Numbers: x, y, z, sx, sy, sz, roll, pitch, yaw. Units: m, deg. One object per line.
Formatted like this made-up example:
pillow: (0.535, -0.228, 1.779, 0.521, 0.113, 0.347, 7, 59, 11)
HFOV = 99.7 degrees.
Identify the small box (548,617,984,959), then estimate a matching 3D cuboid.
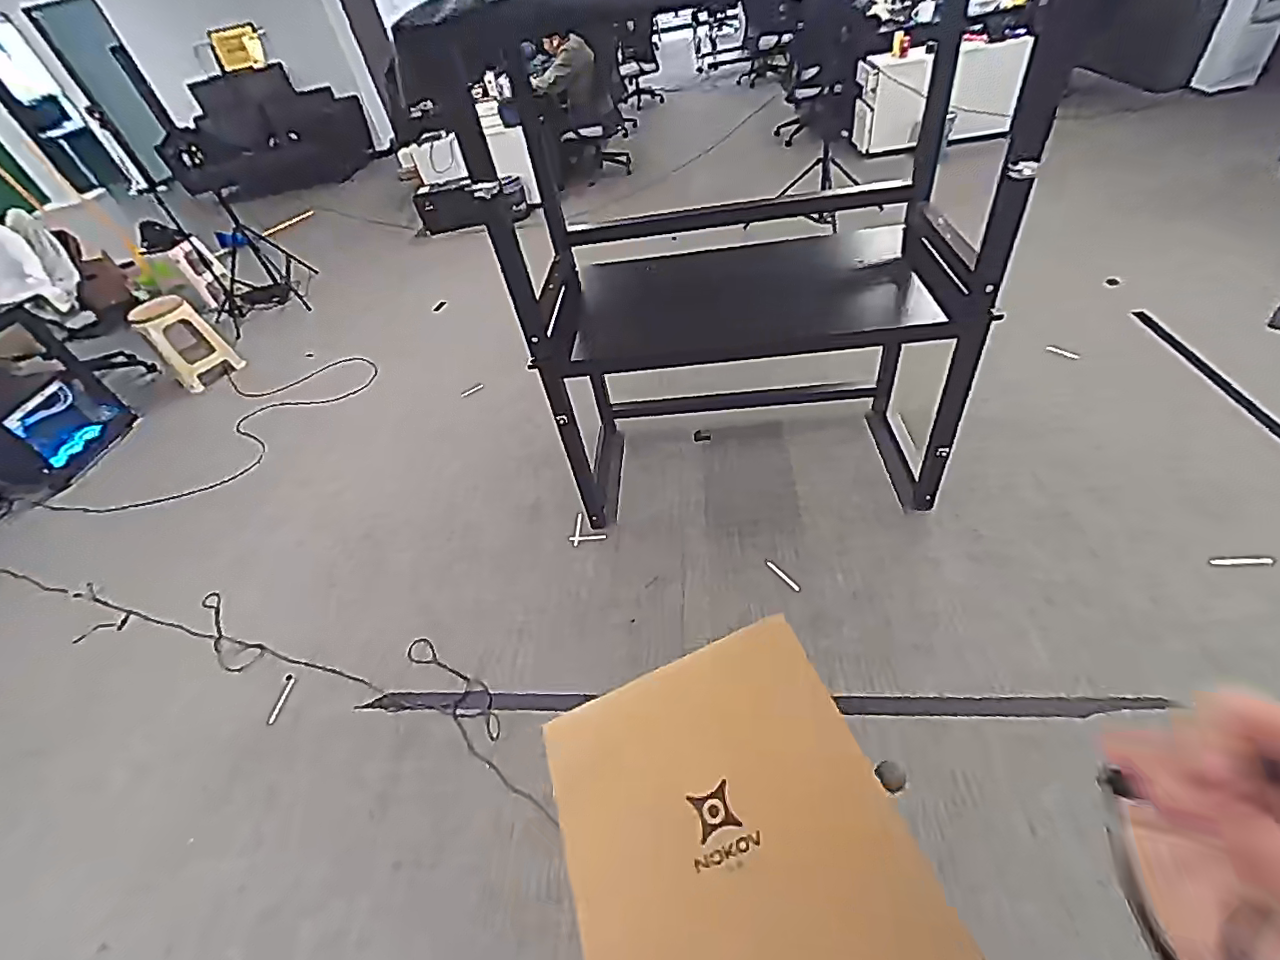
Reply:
small box: (0.064, 0.222, 0.333, 0.168, 0.176, 0.179, -26, 47, 1)
